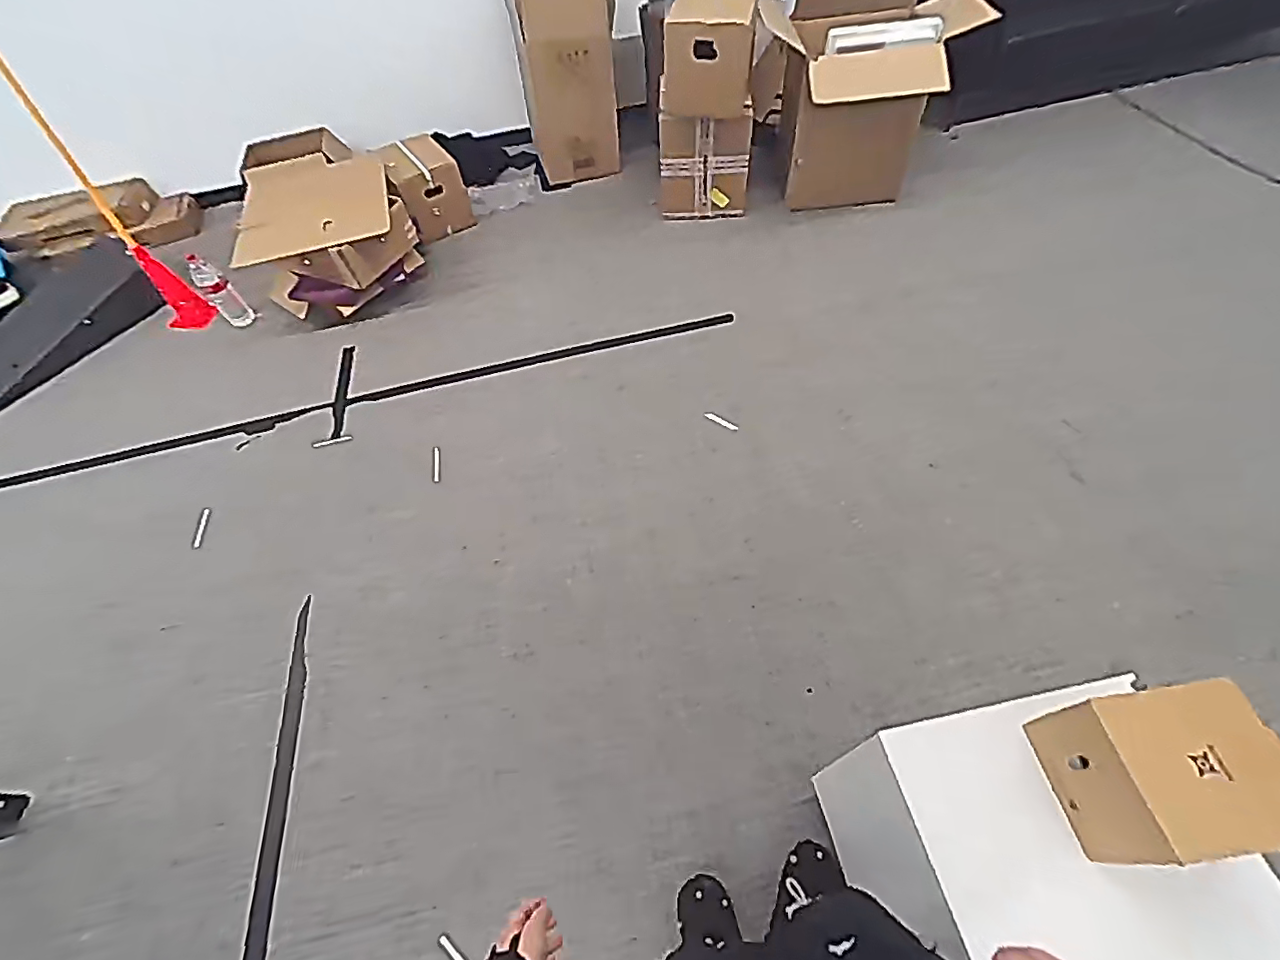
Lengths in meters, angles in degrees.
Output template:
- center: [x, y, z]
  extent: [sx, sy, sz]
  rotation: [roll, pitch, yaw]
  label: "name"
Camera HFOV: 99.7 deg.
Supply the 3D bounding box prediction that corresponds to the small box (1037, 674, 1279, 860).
- center: [0.632, 0.353, 0.657]
  extent: [0.179, 0.176, 0.168]
  rotation: [-9, 55, 0]
  label: "small box"
